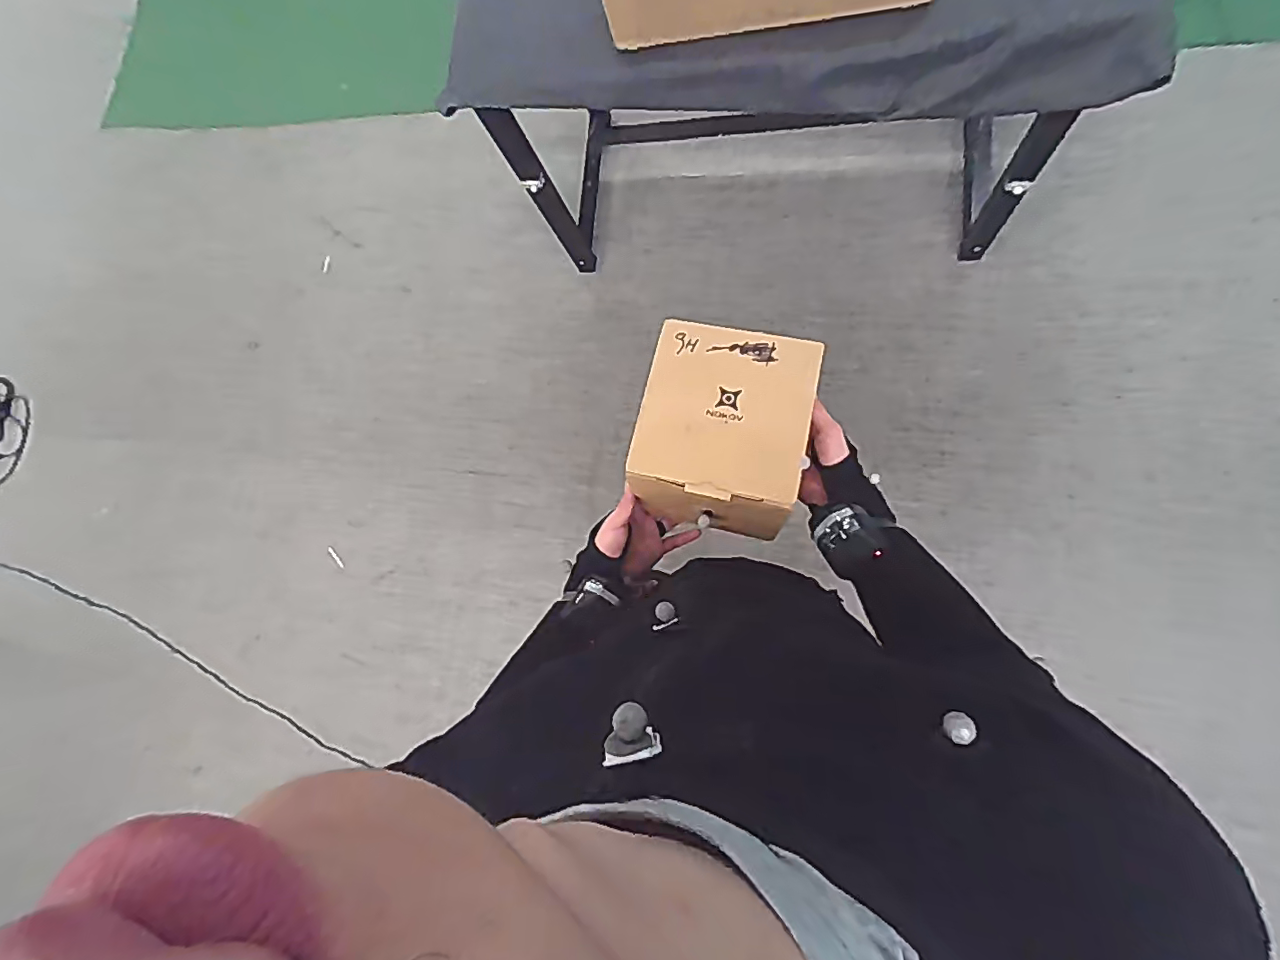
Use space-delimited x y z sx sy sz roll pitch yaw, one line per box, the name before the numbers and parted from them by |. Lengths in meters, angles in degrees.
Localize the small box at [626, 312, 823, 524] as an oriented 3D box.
small box | 0.094 -0.058 0.609 0.168 0.176 0.179 12 77 10
